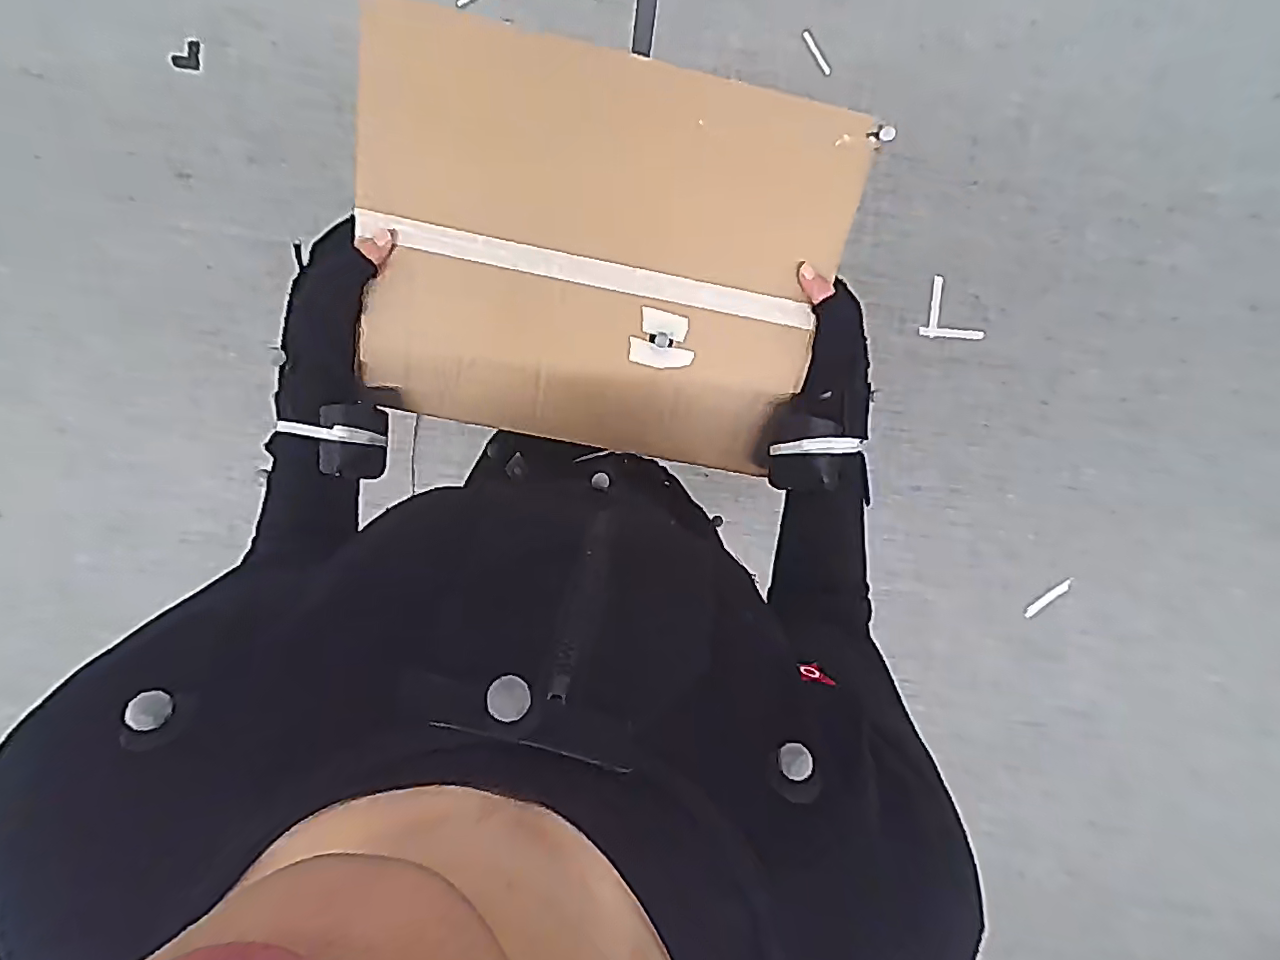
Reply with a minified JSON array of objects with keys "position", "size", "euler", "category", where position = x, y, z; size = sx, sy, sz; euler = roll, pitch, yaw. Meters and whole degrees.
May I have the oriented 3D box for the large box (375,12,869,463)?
[{"position":[-0.037,-0.242,0.619],"size":[0.408,0.320,0.320],"euler":[10,113,-6],"category":"large box"}]
